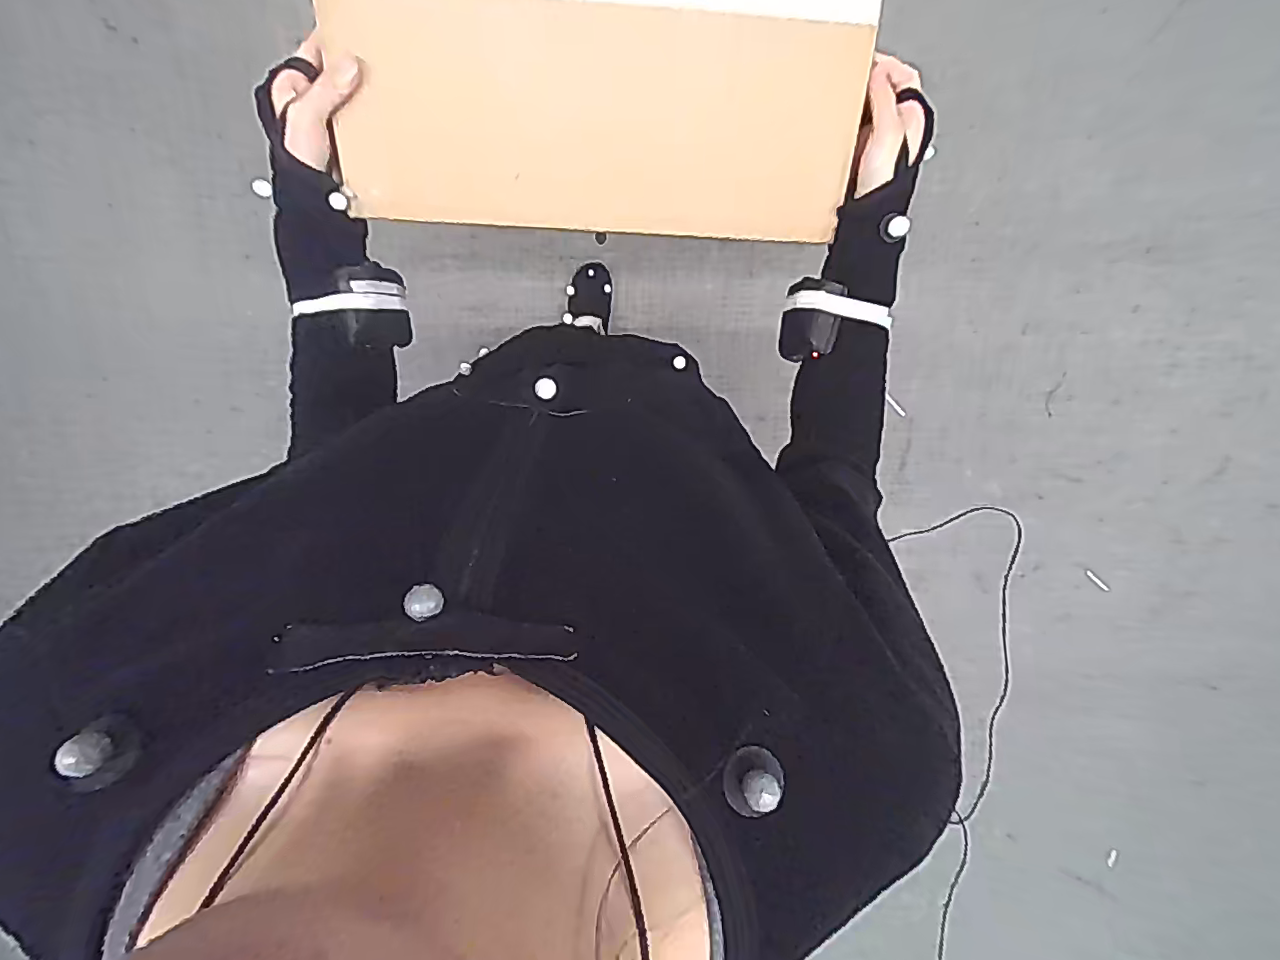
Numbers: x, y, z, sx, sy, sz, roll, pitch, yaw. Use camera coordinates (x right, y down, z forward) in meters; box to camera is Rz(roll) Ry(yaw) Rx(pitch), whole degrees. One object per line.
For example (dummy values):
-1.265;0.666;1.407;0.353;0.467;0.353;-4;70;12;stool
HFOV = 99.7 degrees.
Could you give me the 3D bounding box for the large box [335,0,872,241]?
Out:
-0.029;-0.420;0.532;0.408;0.320;0.320;1;116;-4;large box
